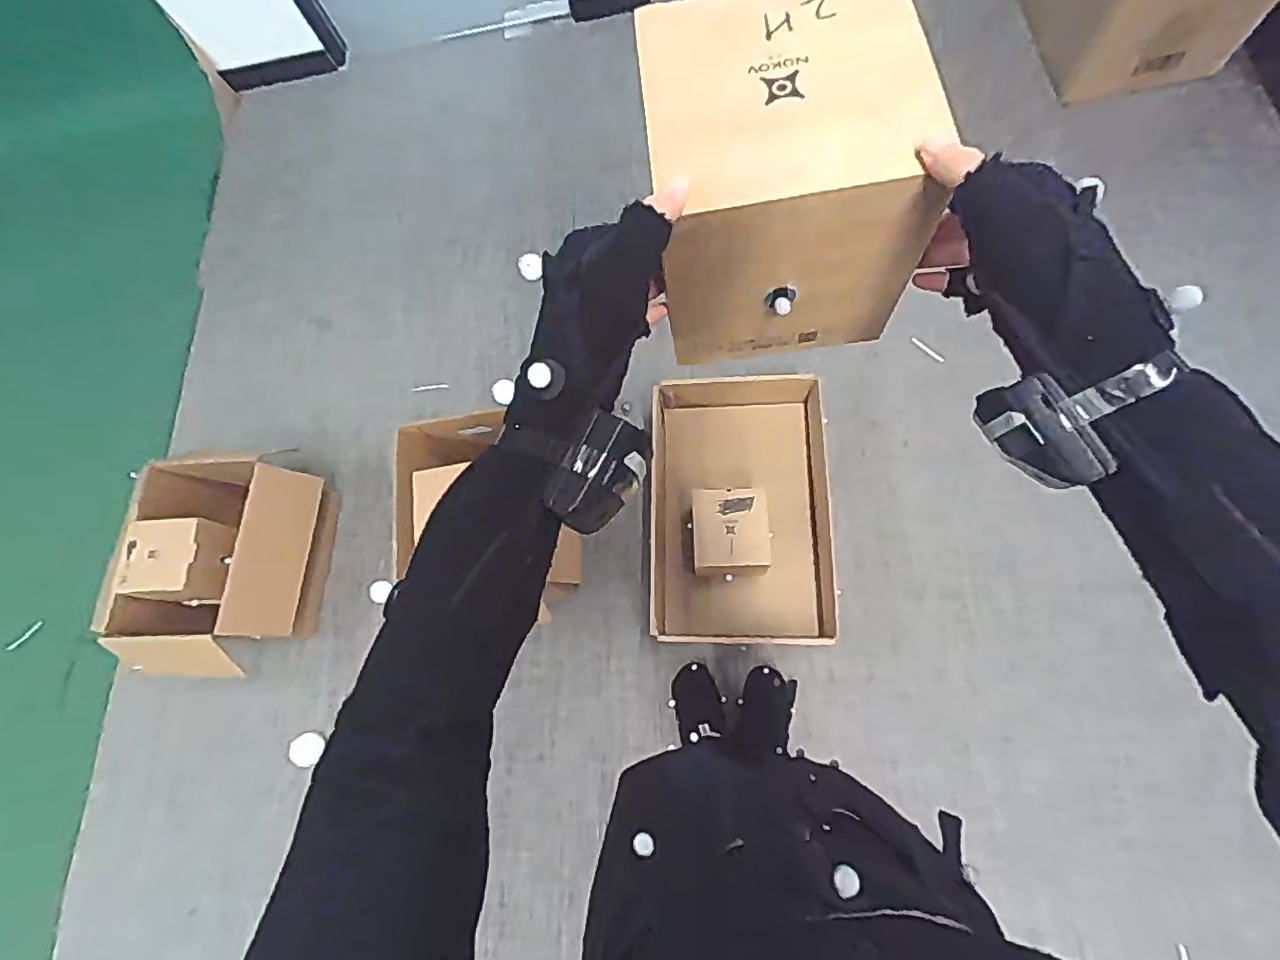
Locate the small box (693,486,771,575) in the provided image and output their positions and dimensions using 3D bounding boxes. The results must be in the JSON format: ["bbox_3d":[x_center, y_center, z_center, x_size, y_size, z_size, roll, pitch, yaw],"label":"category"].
[{"bbox_3d":[0.207,0.121,1.251,0.168,0.176,0.179,-2,73,7],"label":"small box"}]

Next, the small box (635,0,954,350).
[{"bbox_3d":[0.094,-0.211,0.396,0.168,0.176,0.179,-6,72,6],"label":"small box"}]
